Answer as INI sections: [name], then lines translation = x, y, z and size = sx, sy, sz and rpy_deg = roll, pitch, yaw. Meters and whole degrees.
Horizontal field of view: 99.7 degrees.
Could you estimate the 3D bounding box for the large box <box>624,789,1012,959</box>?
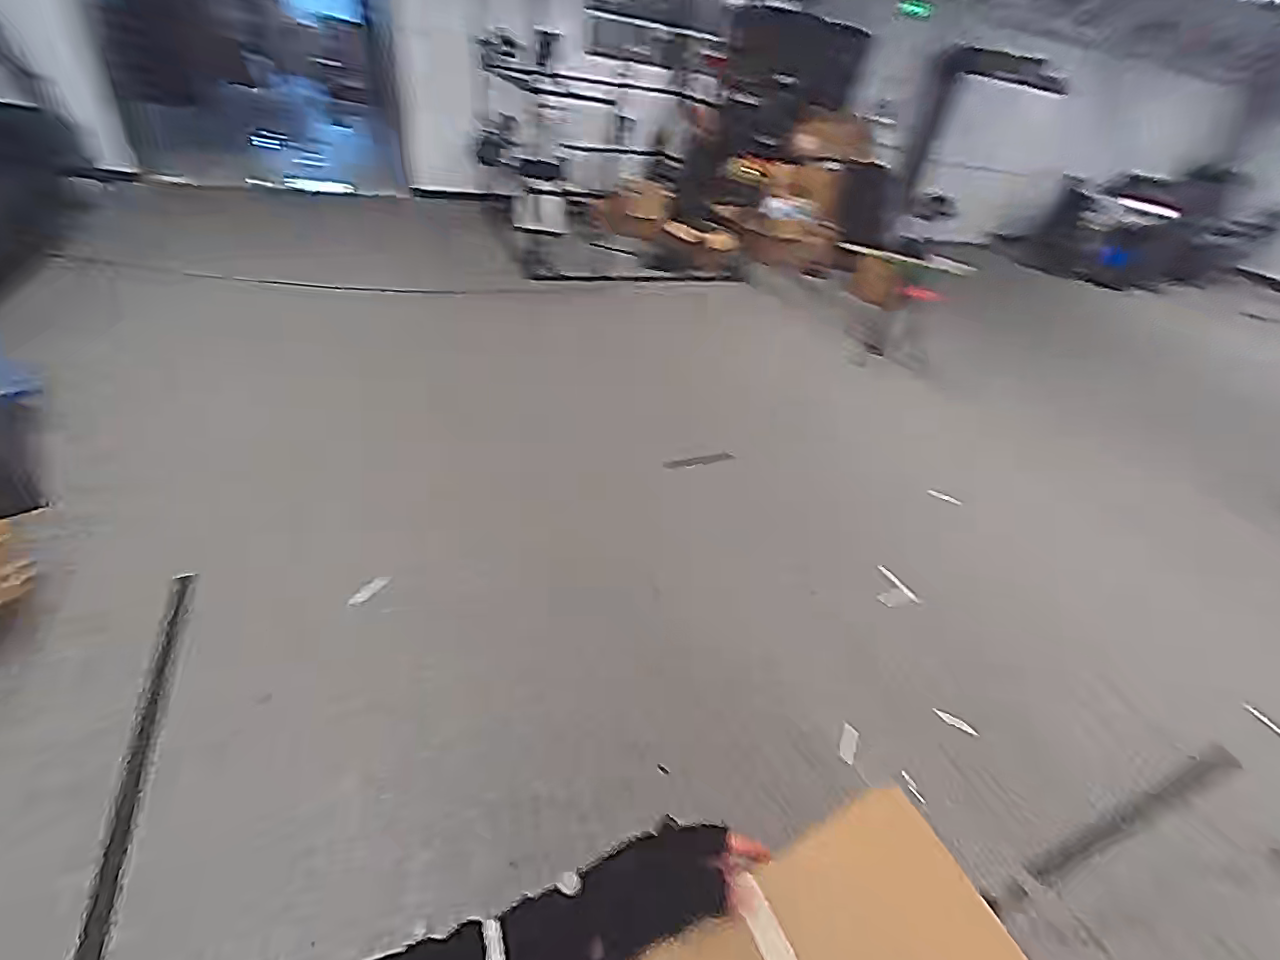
[large box]
translation = 0.176, 0.554, 0.433
size = 0.320, 0.320, 0.408
rpy_deg = -23, 51, -15
